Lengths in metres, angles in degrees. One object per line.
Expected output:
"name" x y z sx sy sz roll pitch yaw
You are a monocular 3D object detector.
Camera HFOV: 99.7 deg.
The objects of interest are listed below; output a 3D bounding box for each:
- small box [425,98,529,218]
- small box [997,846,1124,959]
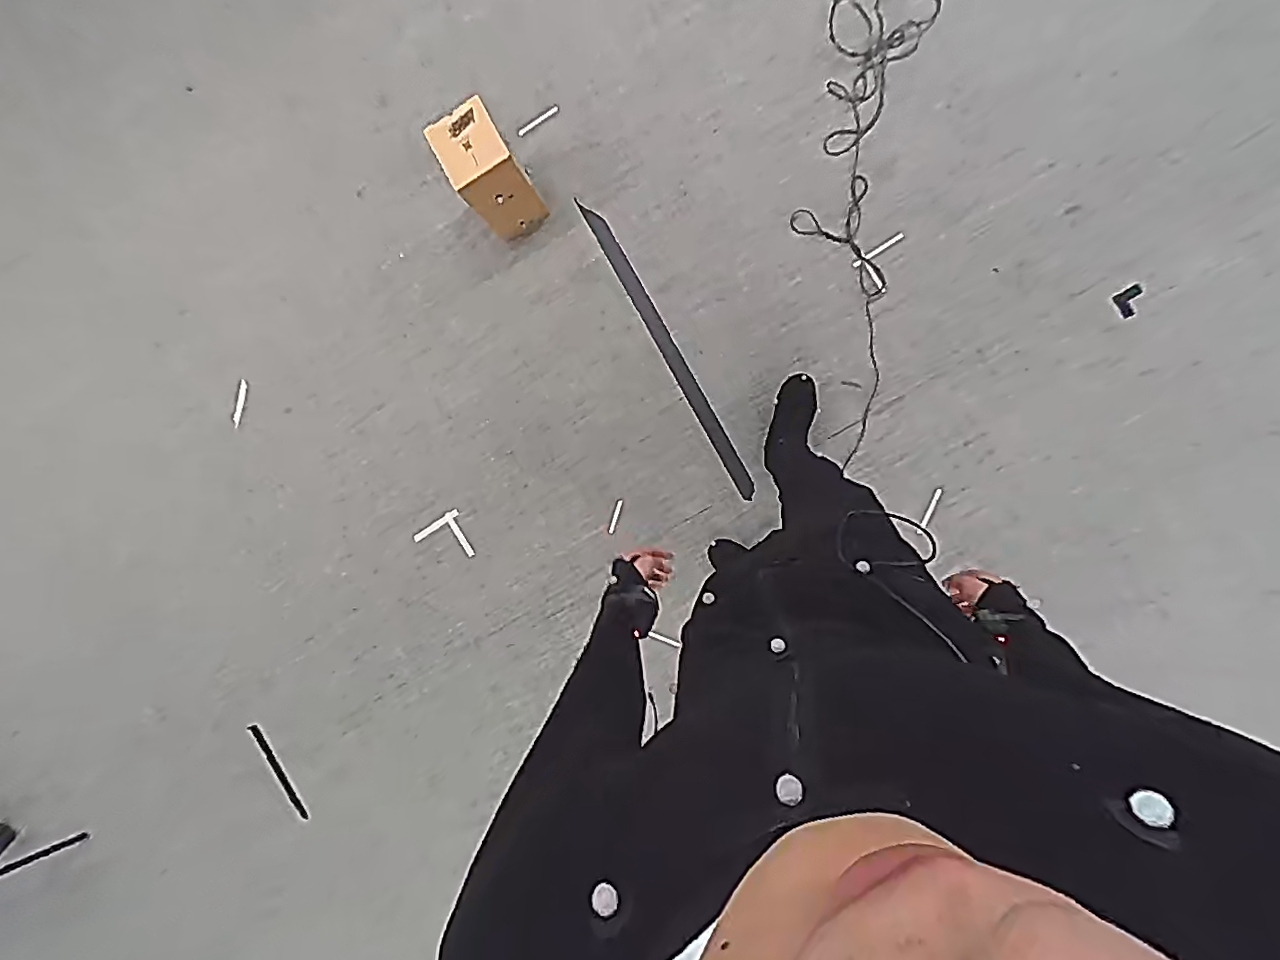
"small box" -0.416 -0.825 1.405 0.168 0.176 0.179 -29 89 8
"small box" 1.108 1.136 1.440 0.168 0.176 0.179 -32 88 6
